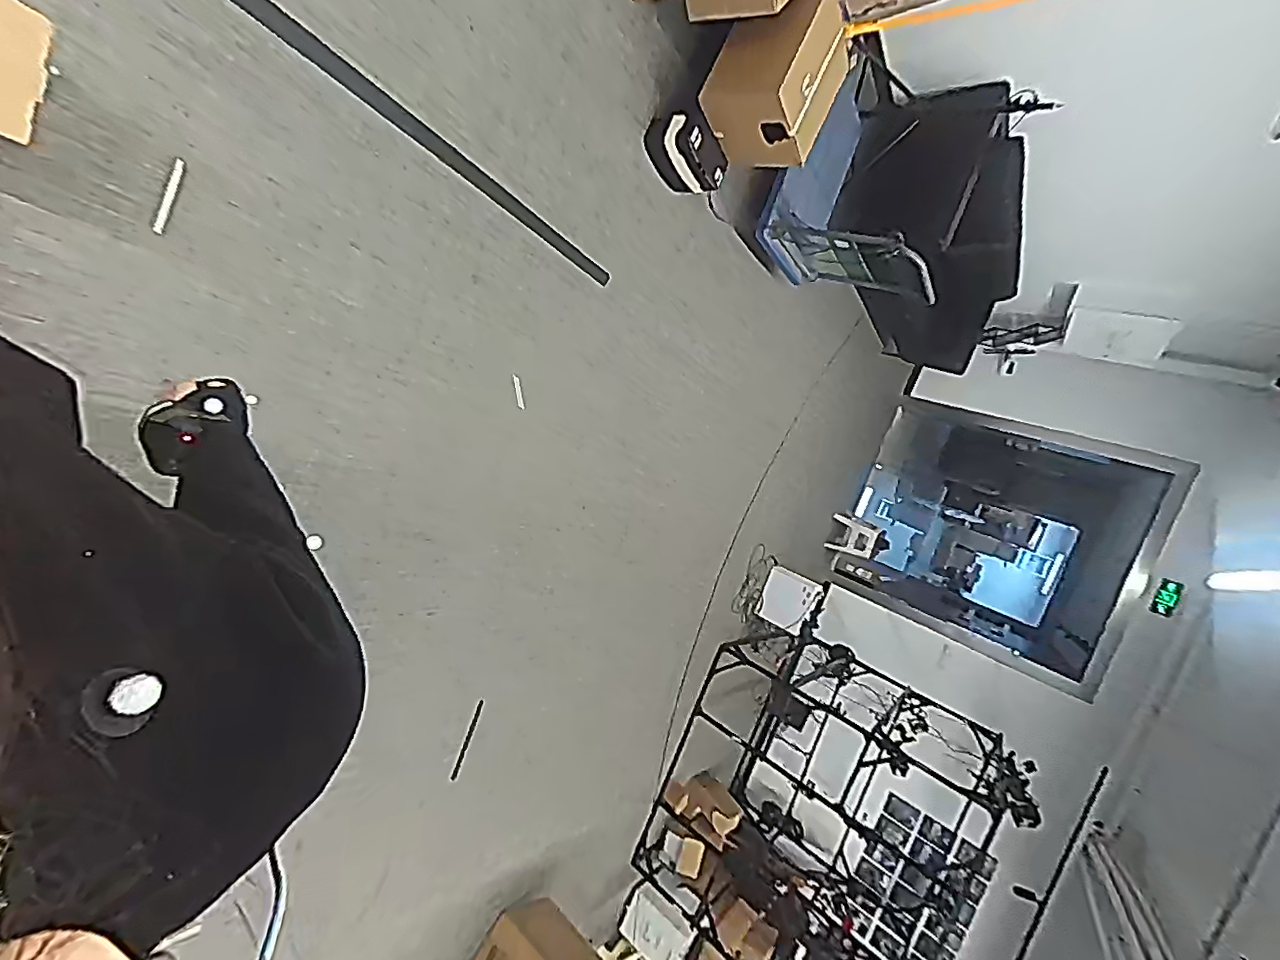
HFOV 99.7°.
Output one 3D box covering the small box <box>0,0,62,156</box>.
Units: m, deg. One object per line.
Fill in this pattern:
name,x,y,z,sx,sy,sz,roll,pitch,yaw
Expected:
small box,-0.891,-0.545,0.686,0.179,0.176,0.168,14,98,-55
